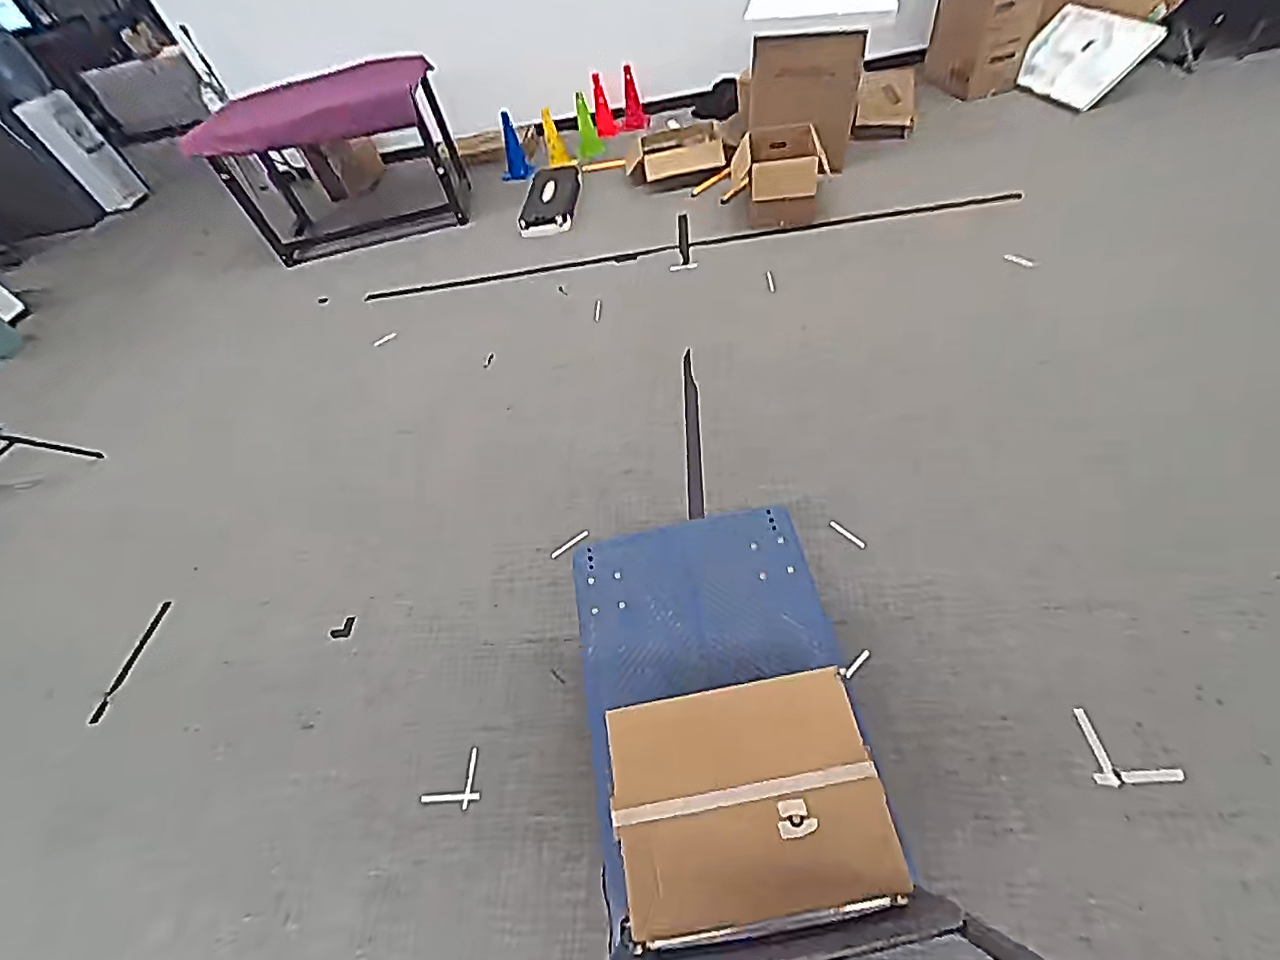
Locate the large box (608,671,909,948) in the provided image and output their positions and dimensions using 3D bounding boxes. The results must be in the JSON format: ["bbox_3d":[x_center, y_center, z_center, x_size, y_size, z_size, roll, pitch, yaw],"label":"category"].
[{"bbox_3d":[0.181,0.570,0.969,0.408,0.320,0.320,-12,59,1],"label":"large box"}]
